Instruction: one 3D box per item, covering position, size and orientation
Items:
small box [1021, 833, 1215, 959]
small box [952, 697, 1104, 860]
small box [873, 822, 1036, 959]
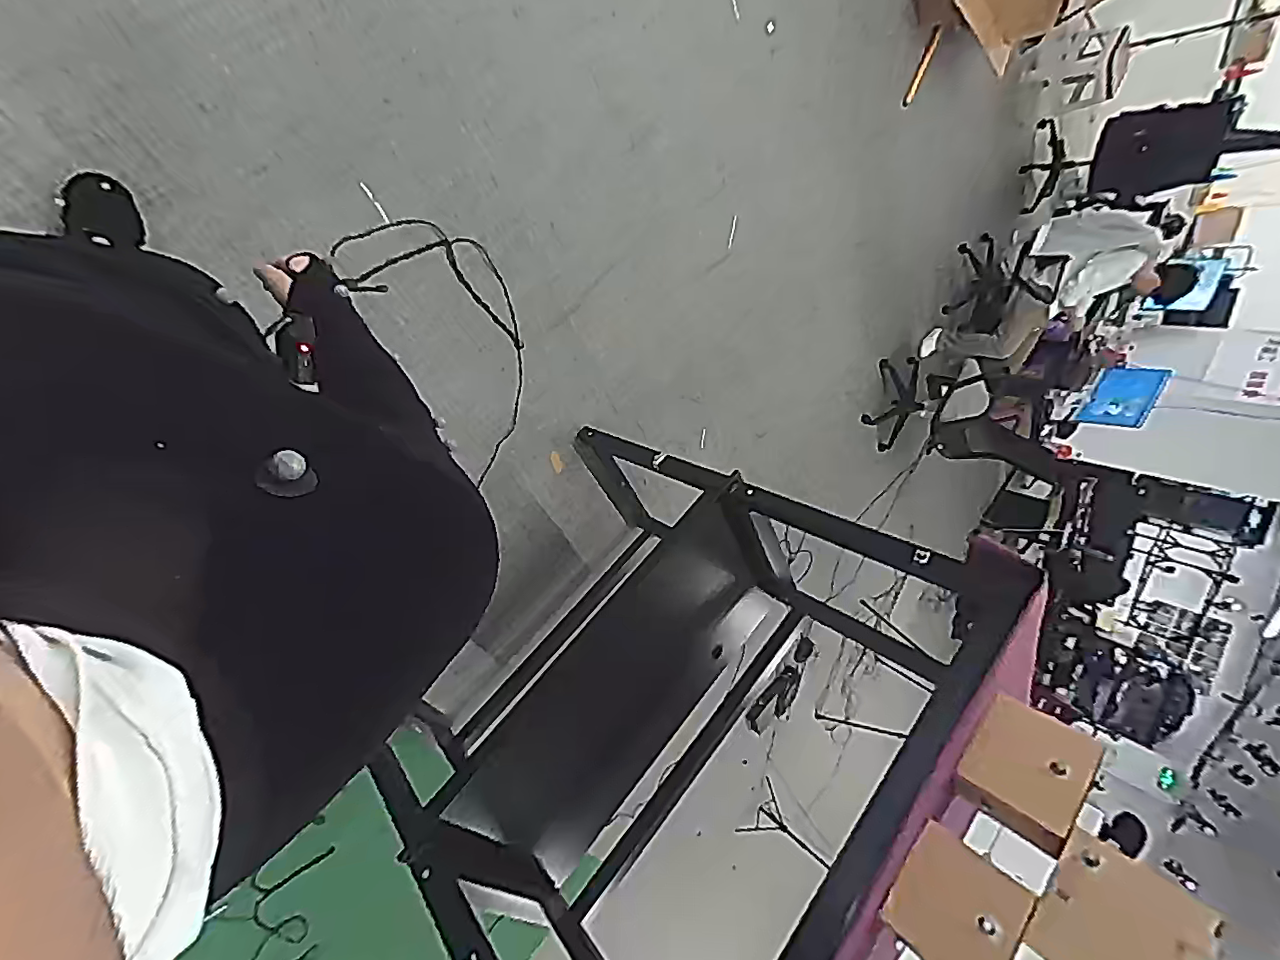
[{"bbox_3d":[0.697,0.674,0.808,0.168,0.176,0.179,-44,132,-19],"label":"small box"},{"bbox_3d":[0.683,0.525,0.966,0.179,0.176,0.168,-47,132,-17],"label":"small box"},{"bbox_3d":[0.503,0.701,0.874,0.179,0.176,0.168,-46,132,-19],"label":"small box"}]
